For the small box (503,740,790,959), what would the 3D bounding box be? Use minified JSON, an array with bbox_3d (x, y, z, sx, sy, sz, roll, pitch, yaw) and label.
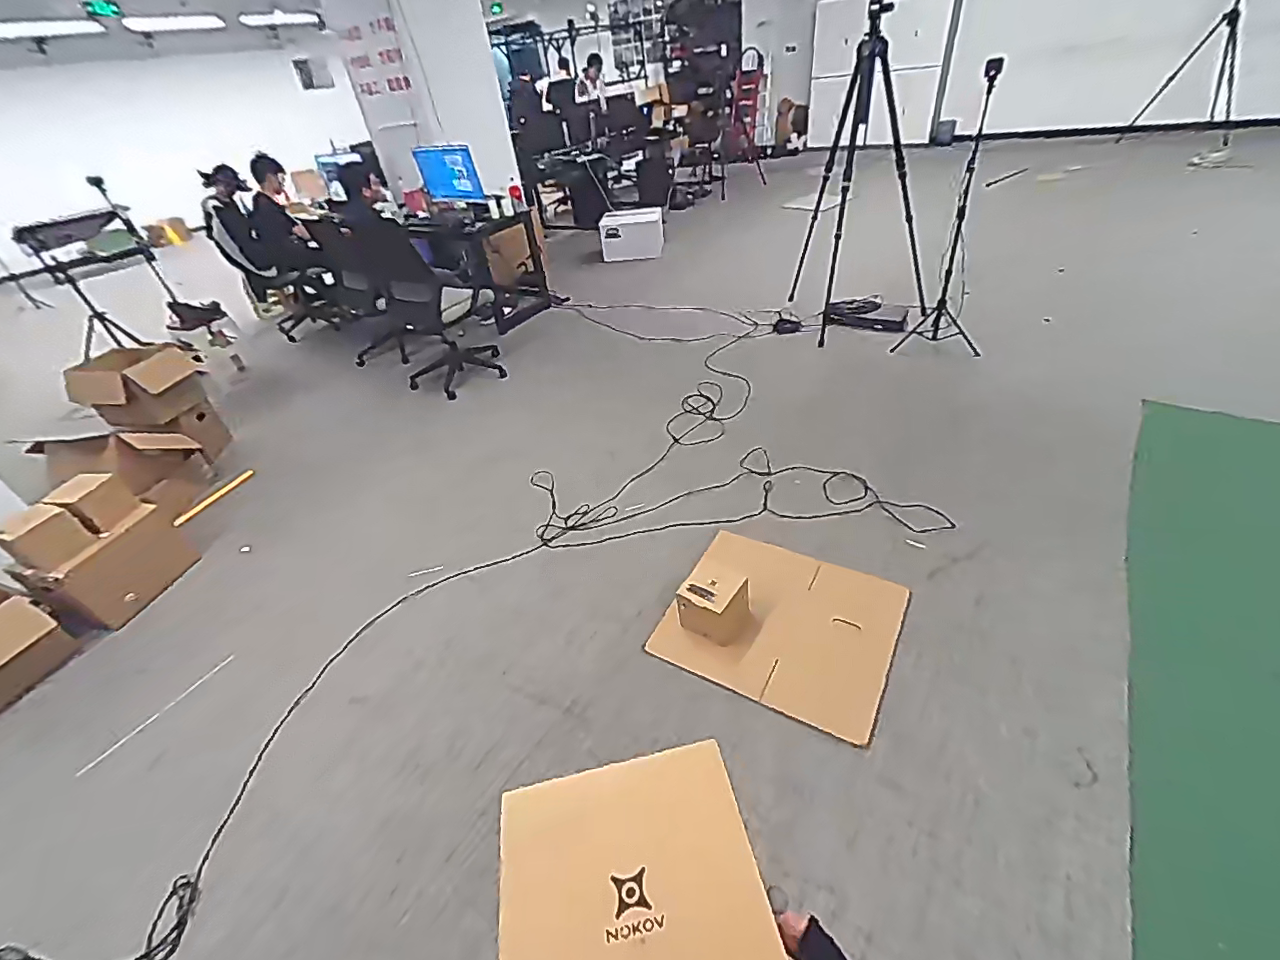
[{"bbox_3d":[0.003,0.325,0.381,0.168,0.176,0.179,-11,35,-6],"label":"small box"}]
